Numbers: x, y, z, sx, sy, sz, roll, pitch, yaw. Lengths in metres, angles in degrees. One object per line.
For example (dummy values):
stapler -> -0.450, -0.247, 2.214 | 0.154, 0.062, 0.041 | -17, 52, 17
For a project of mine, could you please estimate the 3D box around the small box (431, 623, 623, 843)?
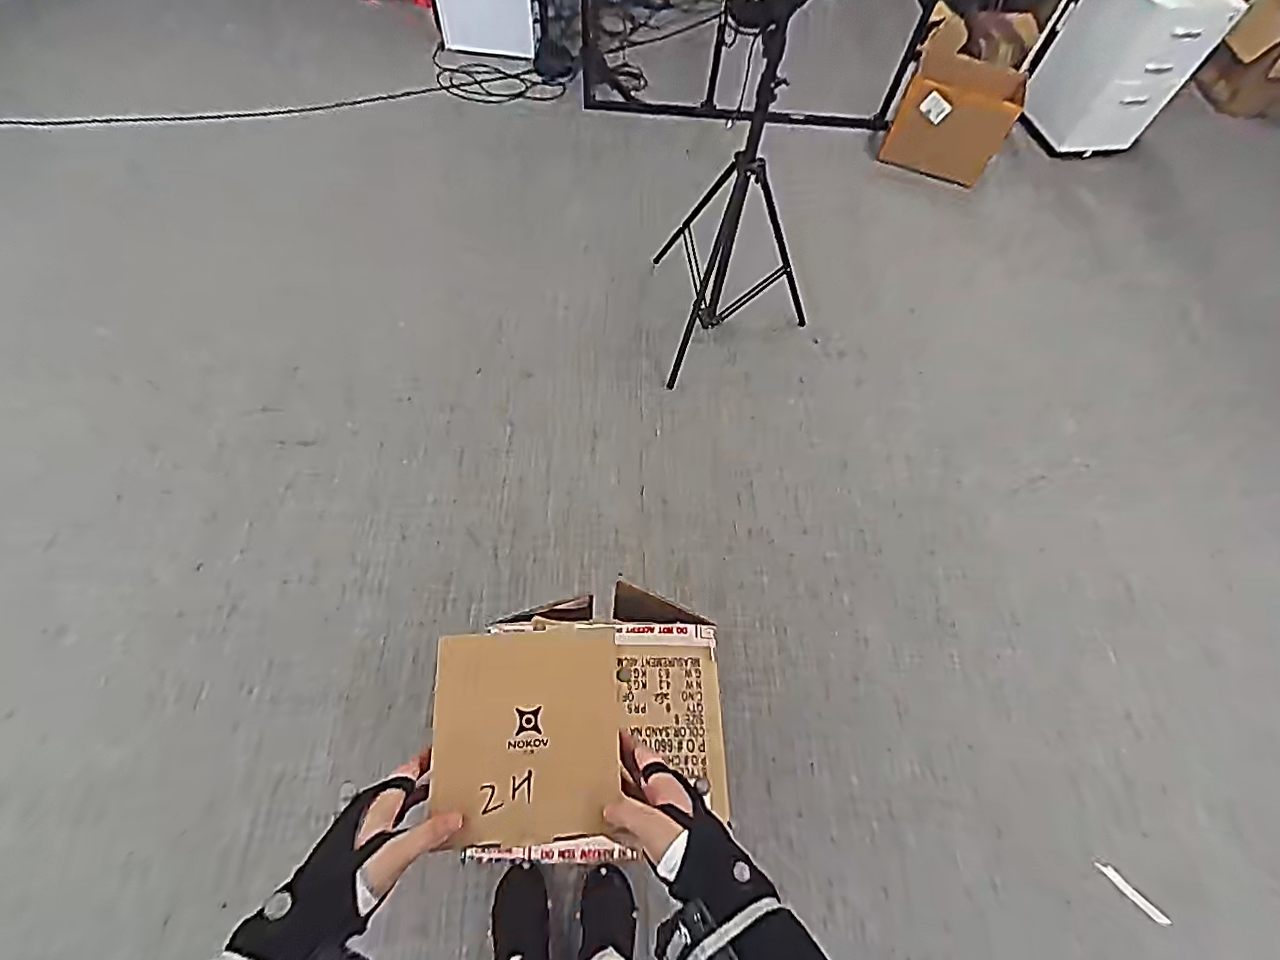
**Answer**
small box -> -0.108, 0.250, 0.566 | 0.168, 0.176, 0.179 | -2, 71, -6
